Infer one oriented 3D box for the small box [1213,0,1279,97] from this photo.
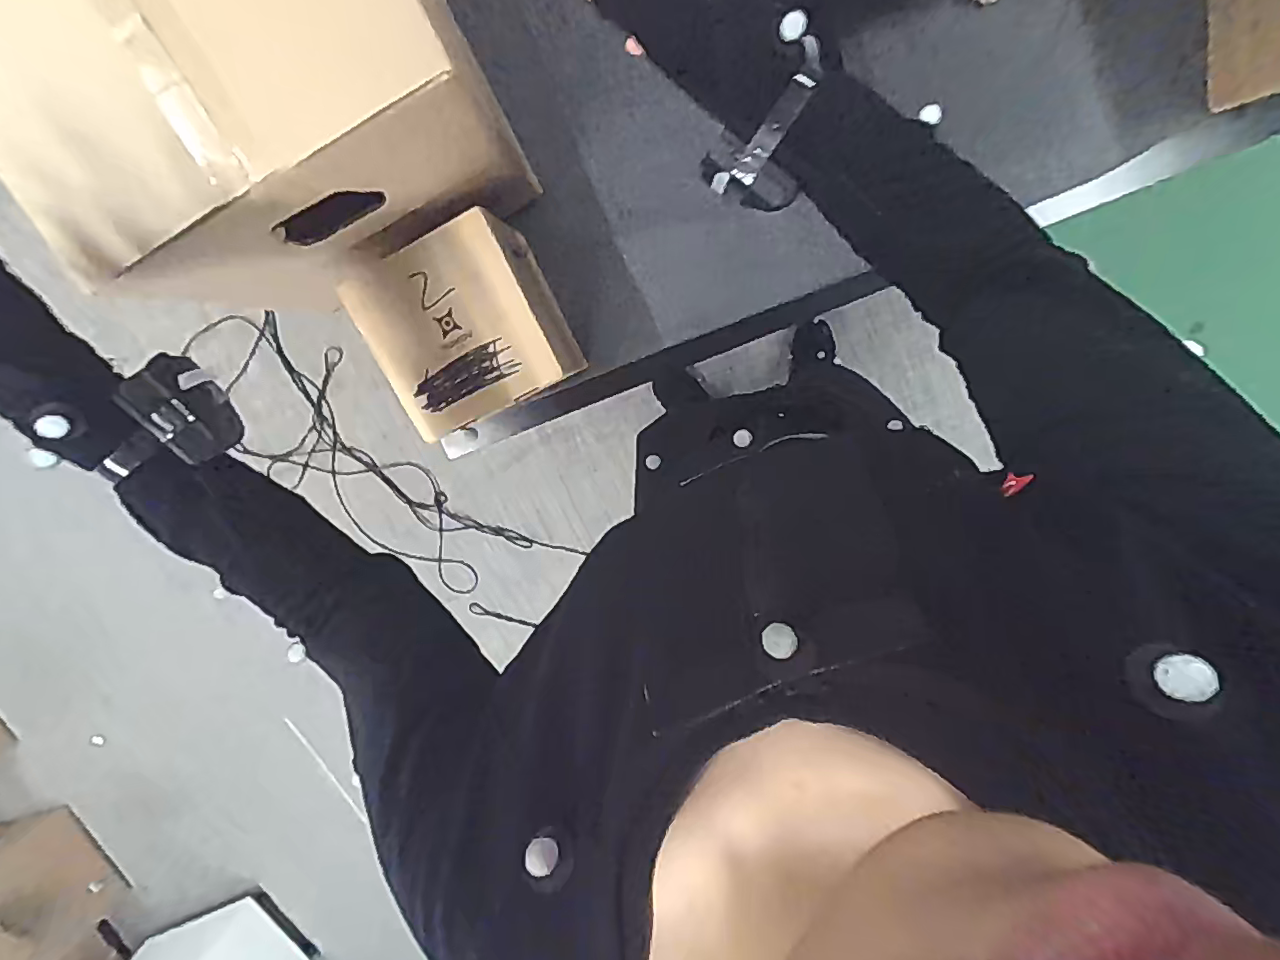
[{"bbox_3d":[0.671,-0.487,0.477,0.168,0.176,0.179,-15,107,9],"label":"small box"}]
